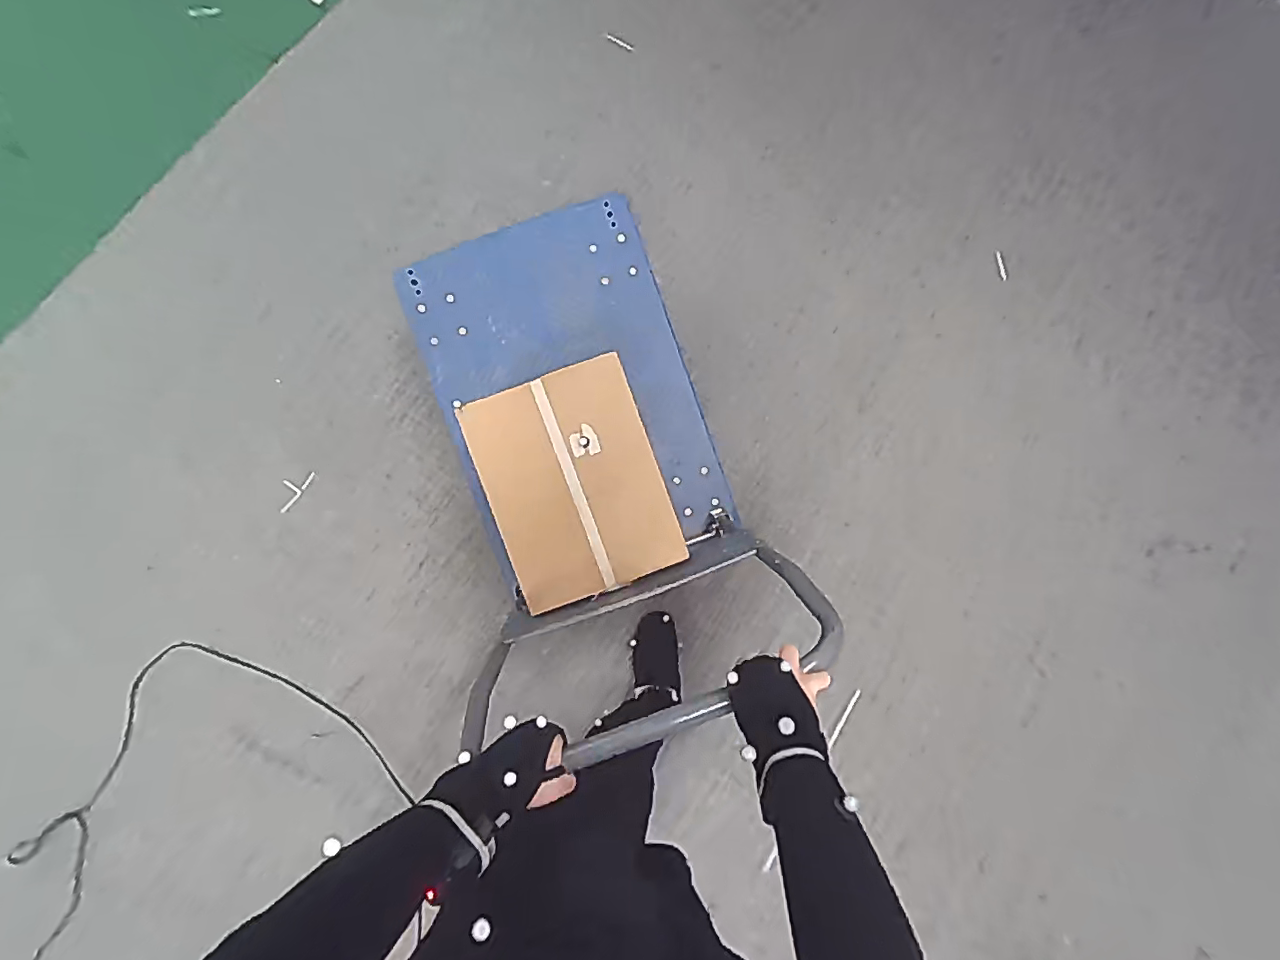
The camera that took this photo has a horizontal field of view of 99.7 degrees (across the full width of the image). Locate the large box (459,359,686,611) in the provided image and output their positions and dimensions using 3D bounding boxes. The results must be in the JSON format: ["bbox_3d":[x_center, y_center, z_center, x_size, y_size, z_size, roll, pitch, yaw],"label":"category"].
[{"bbox_3d":[-0.126,0.008,1.154,0.320,0.320,0.408,-21,91,-2],"label":"large box"}]
